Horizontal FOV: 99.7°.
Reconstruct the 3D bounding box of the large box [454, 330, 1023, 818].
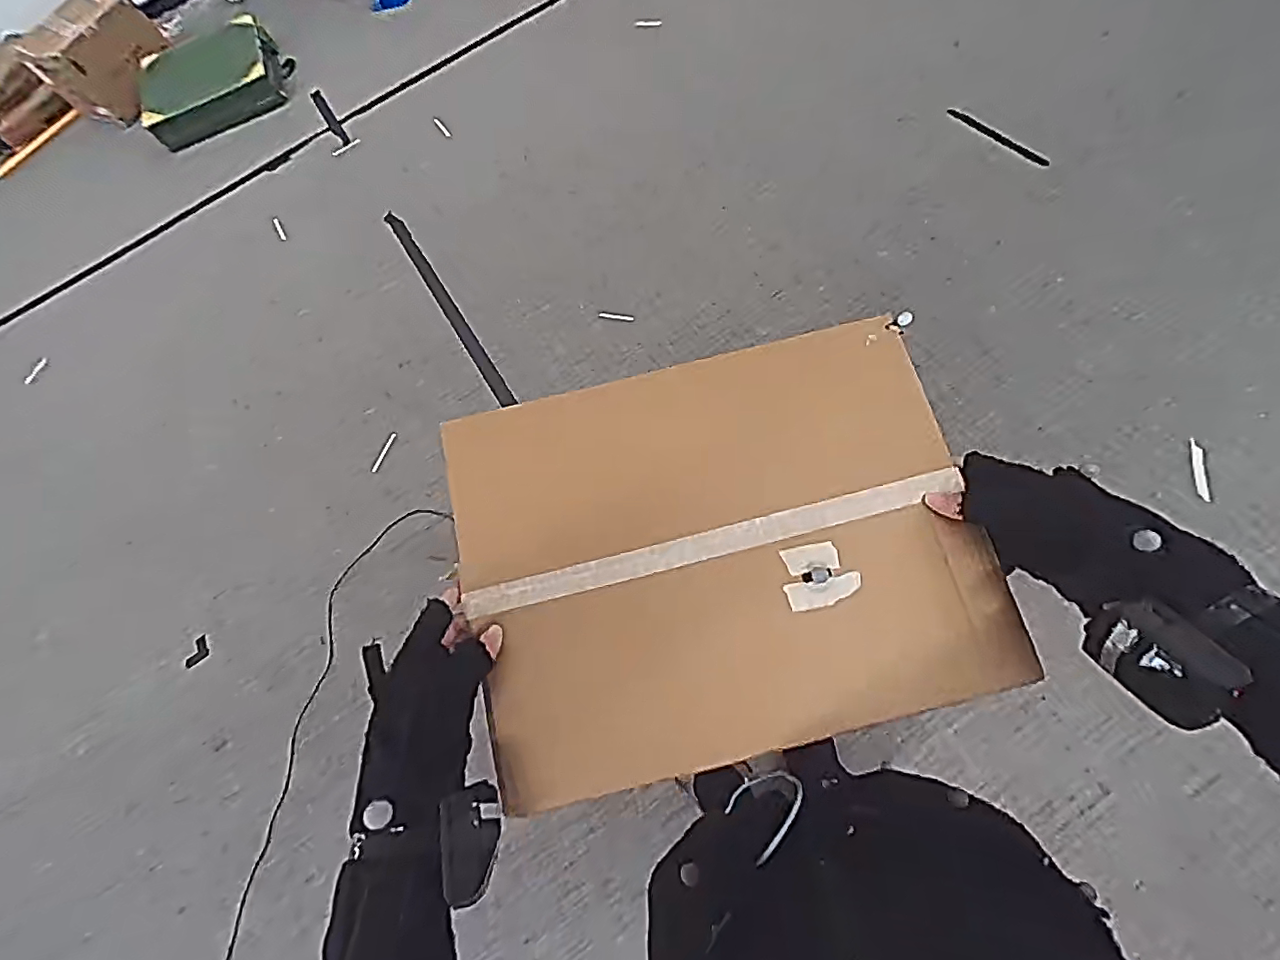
[{"bbox_3d":[0.068,0.096,0.585,0.408,0.320,0.320,-15,76,-2],"label":"large box"}]
